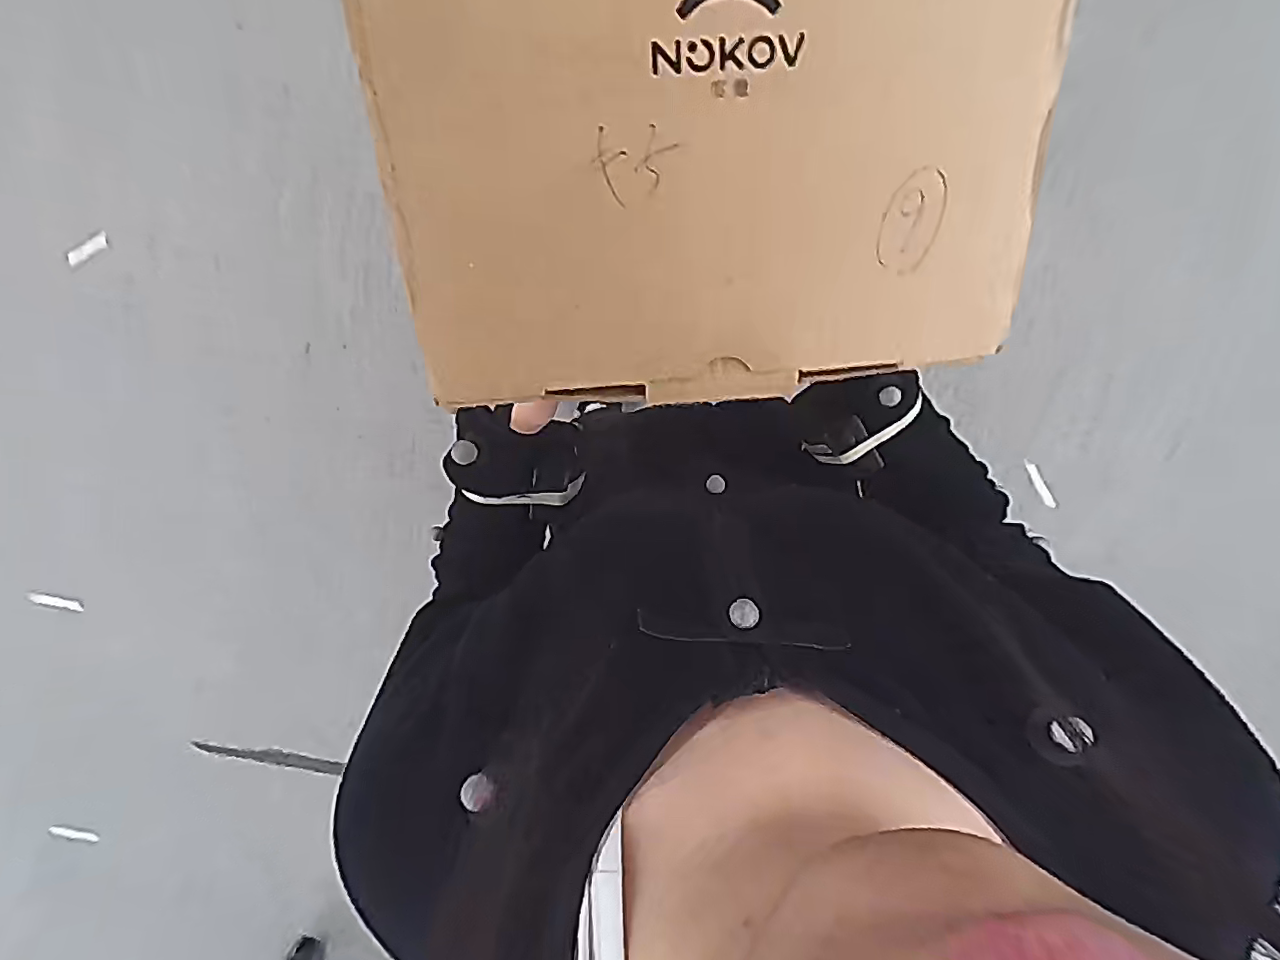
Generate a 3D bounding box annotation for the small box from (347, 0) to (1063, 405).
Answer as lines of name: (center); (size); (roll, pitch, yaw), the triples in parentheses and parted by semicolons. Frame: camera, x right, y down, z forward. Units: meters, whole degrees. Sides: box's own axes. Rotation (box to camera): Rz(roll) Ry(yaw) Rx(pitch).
small box: (0.011, -0.138, 0.197); (0.168, 0.176, 0.179); (-5, 113, -4)
